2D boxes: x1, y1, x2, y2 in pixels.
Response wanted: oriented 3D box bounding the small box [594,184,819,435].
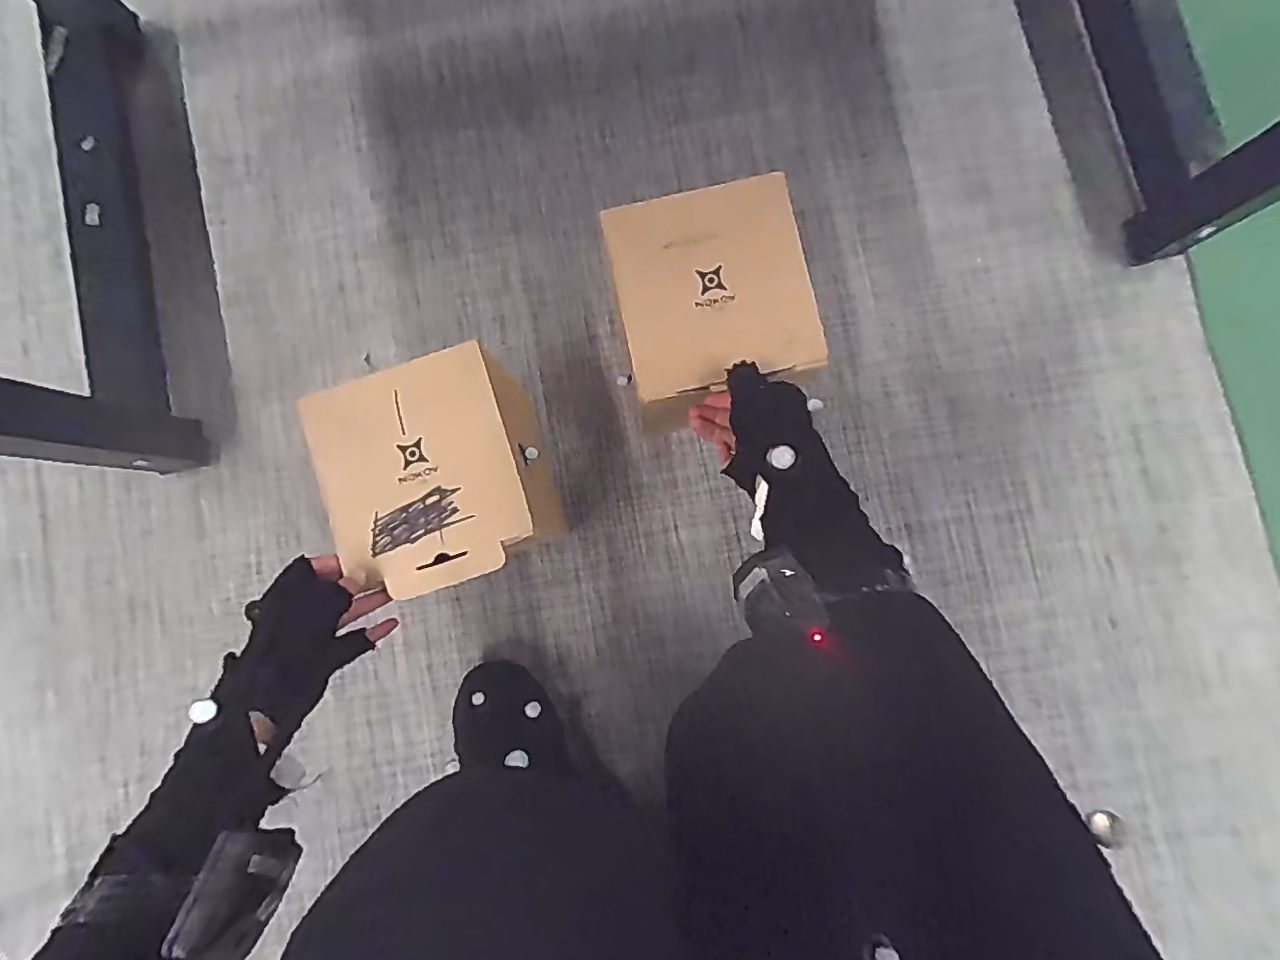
[{"bbox_3d":[0.059,-0.151,0.545,0.168,0.176,0.179,-13,83,0],"label":"small box"}]
